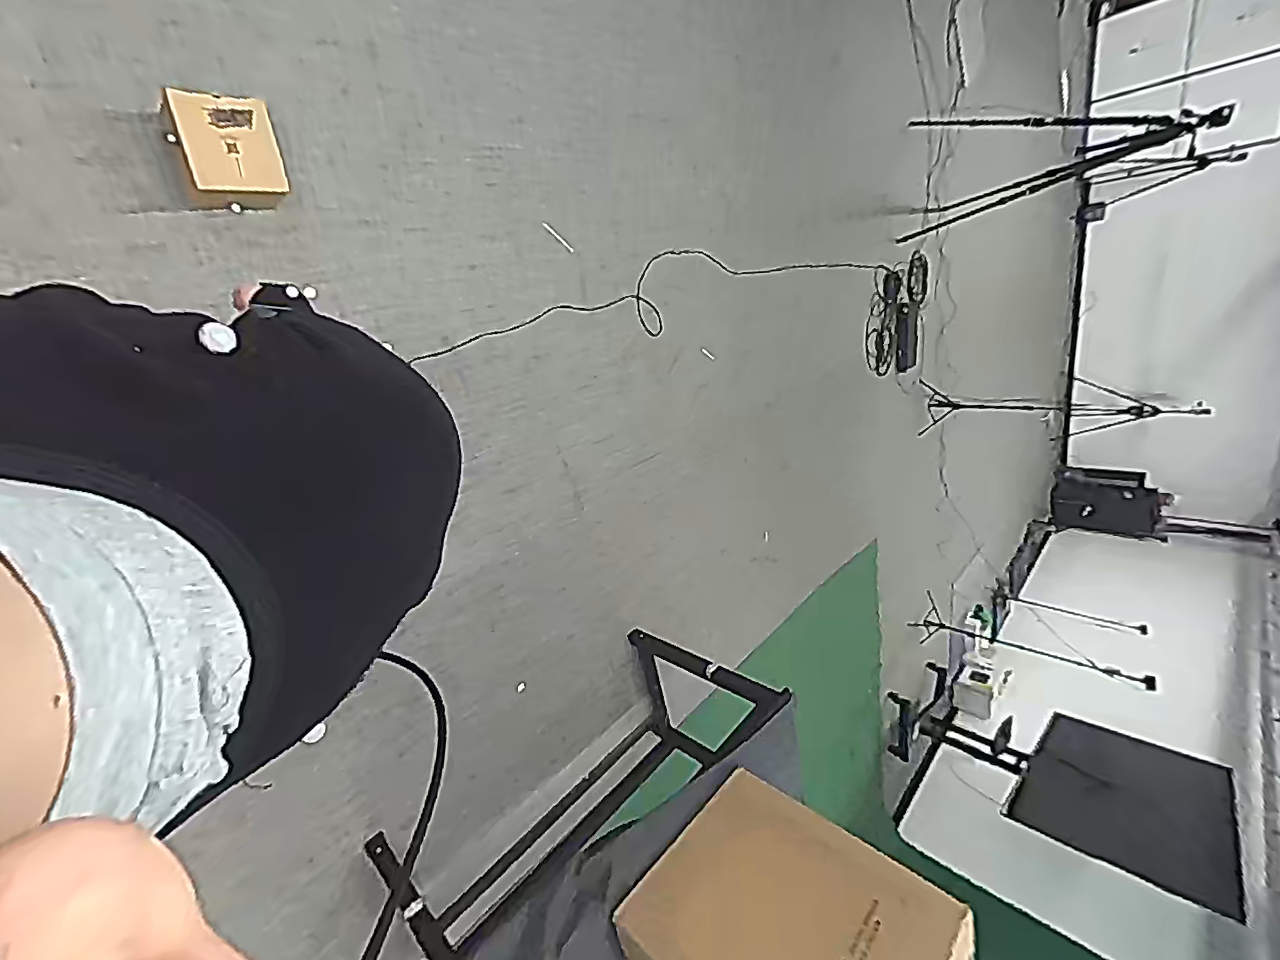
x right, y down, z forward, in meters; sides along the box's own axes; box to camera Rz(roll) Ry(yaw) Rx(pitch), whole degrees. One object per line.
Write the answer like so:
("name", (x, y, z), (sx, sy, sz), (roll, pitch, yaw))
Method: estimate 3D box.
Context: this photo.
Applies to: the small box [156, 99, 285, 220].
("small box", (-0.888, -0.665, 1.143), (0.168, 0.176, 0.179), (-24, 114, -39))
